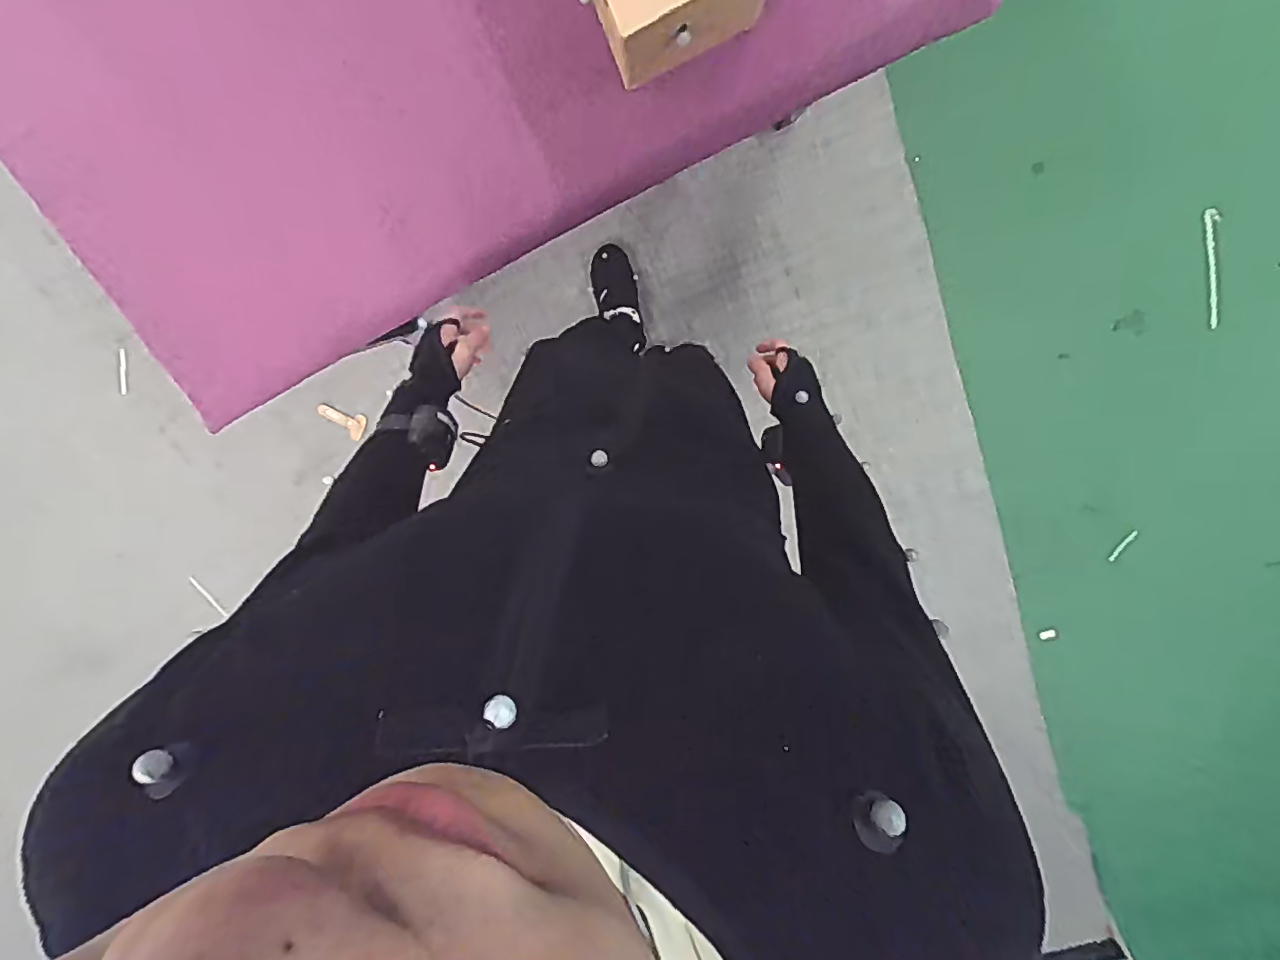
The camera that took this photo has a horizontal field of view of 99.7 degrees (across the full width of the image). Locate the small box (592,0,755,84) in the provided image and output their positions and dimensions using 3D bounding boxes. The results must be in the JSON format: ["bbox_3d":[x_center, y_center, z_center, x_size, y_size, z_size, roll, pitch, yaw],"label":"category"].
[{"bbox_3d":[0.024,-0.561,0.566,0.179,0.176,0.168,-21,109,11],"label":"small box"}]
